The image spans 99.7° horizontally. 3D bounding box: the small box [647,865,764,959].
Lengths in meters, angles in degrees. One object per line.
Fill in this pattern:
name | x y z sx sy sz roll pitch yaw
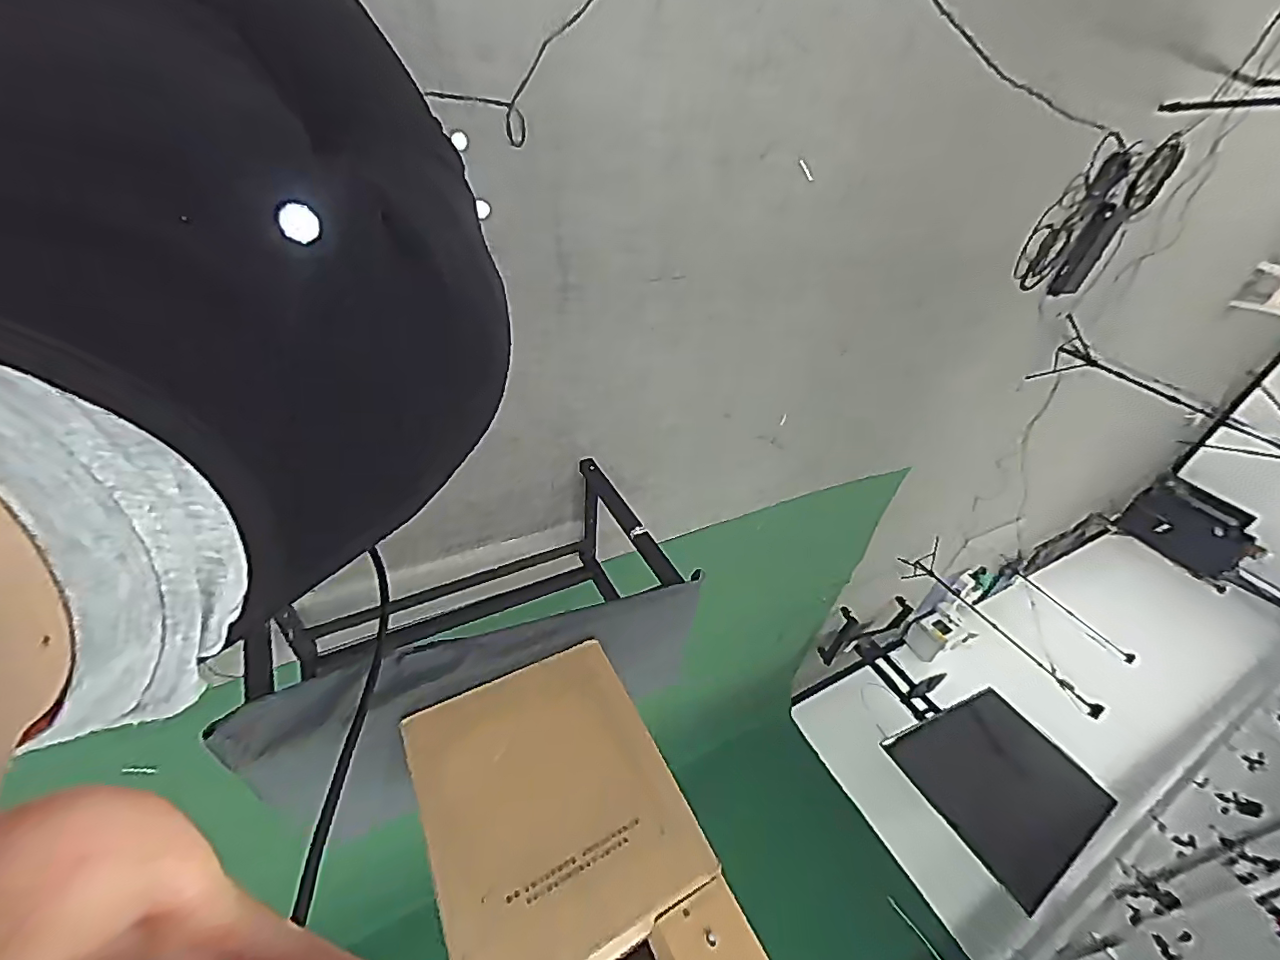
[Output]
small box | 0.128 0.954 1.133 0.168 0.176 0.179 -17 135 -26
